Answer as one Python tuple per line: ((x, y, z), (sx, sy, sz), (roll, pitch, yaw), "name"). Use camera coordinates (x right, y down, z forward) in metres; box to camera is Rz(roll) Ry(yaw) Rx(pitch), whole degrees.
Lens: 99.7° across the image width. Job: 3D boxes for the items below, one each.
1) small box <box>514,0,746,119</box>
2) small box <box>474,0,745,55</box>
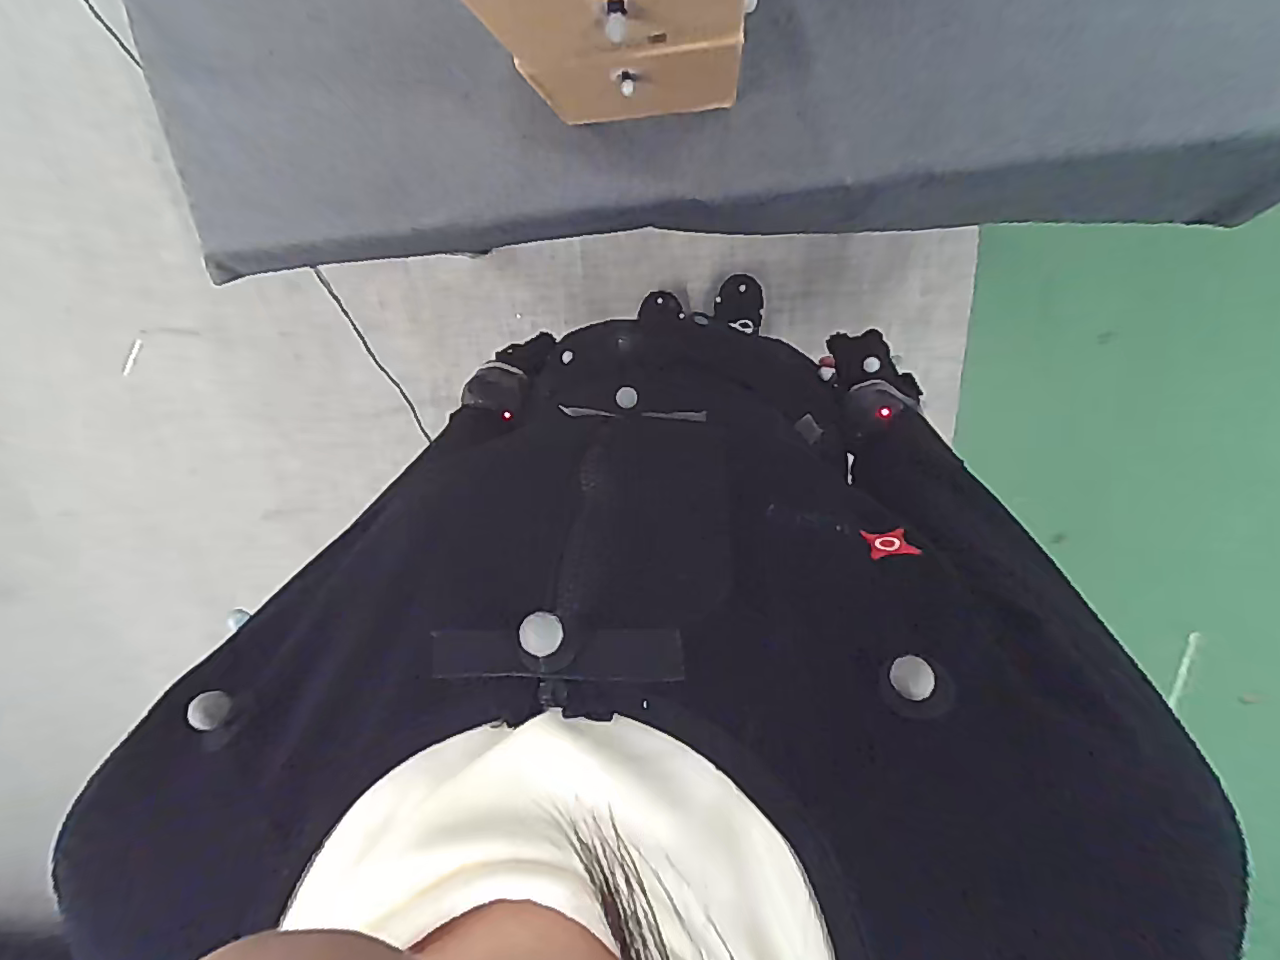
((-0.004, -0.424, 0.453), (0.179, 0.176, 0.168), (-2, 111, 7), "small box")
((-0.023, -0.370, 0.300), (0.168, 0.176, 0.179), (-3, 111, 9), "small box")
